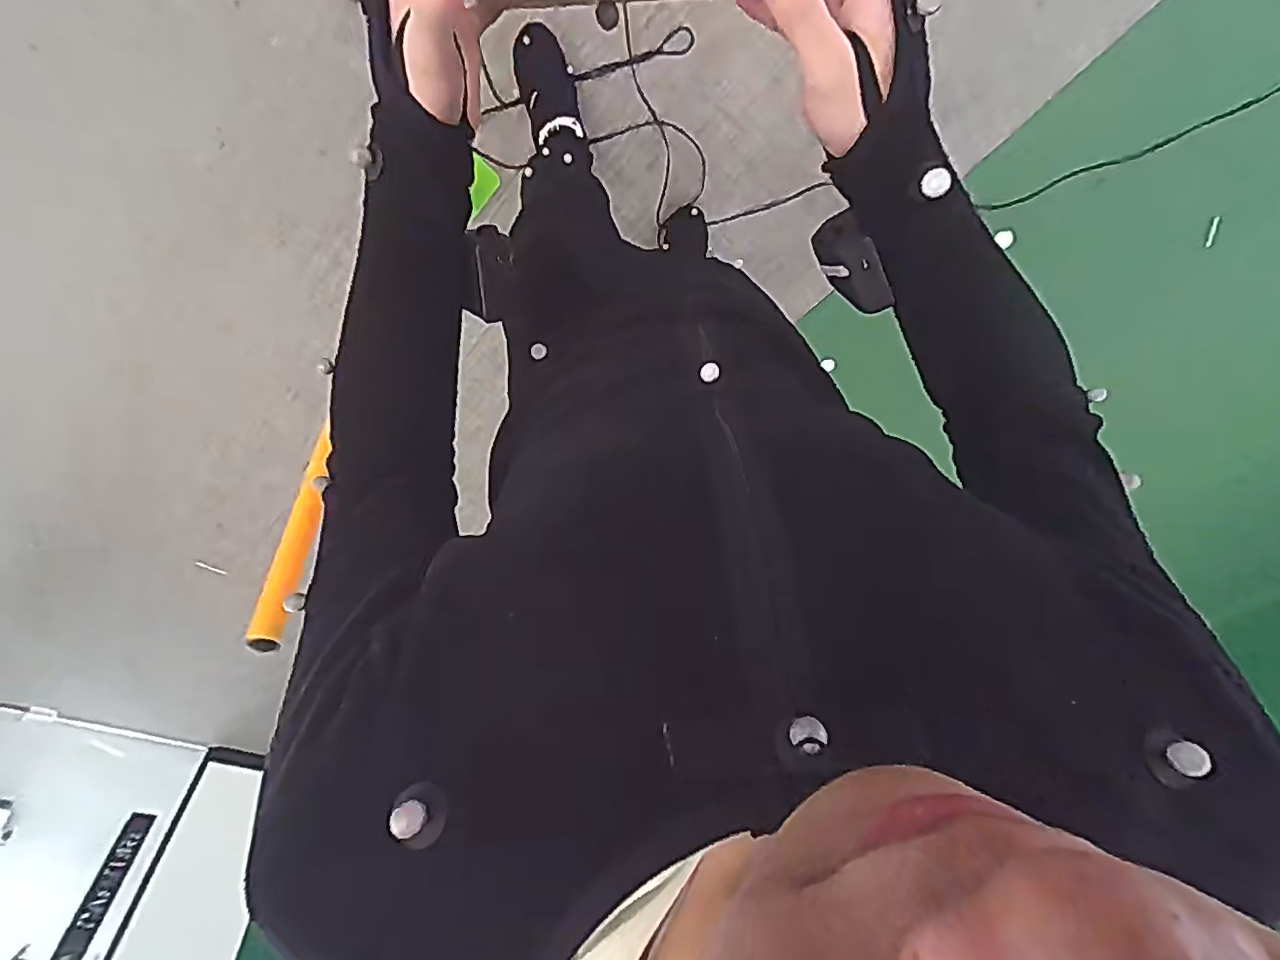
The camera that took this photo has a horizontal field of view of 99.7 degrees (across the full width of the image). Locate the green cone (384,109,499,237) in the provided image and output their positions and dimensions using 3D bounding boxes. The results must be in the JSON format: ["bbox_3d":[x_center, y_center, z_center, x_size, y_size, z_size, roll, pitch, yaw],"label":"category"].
[{"bbox_3d":[-0.437,-0.588,1.113,0.200,0.368,0.202,35,117,-31],"label":"green cone"}]
